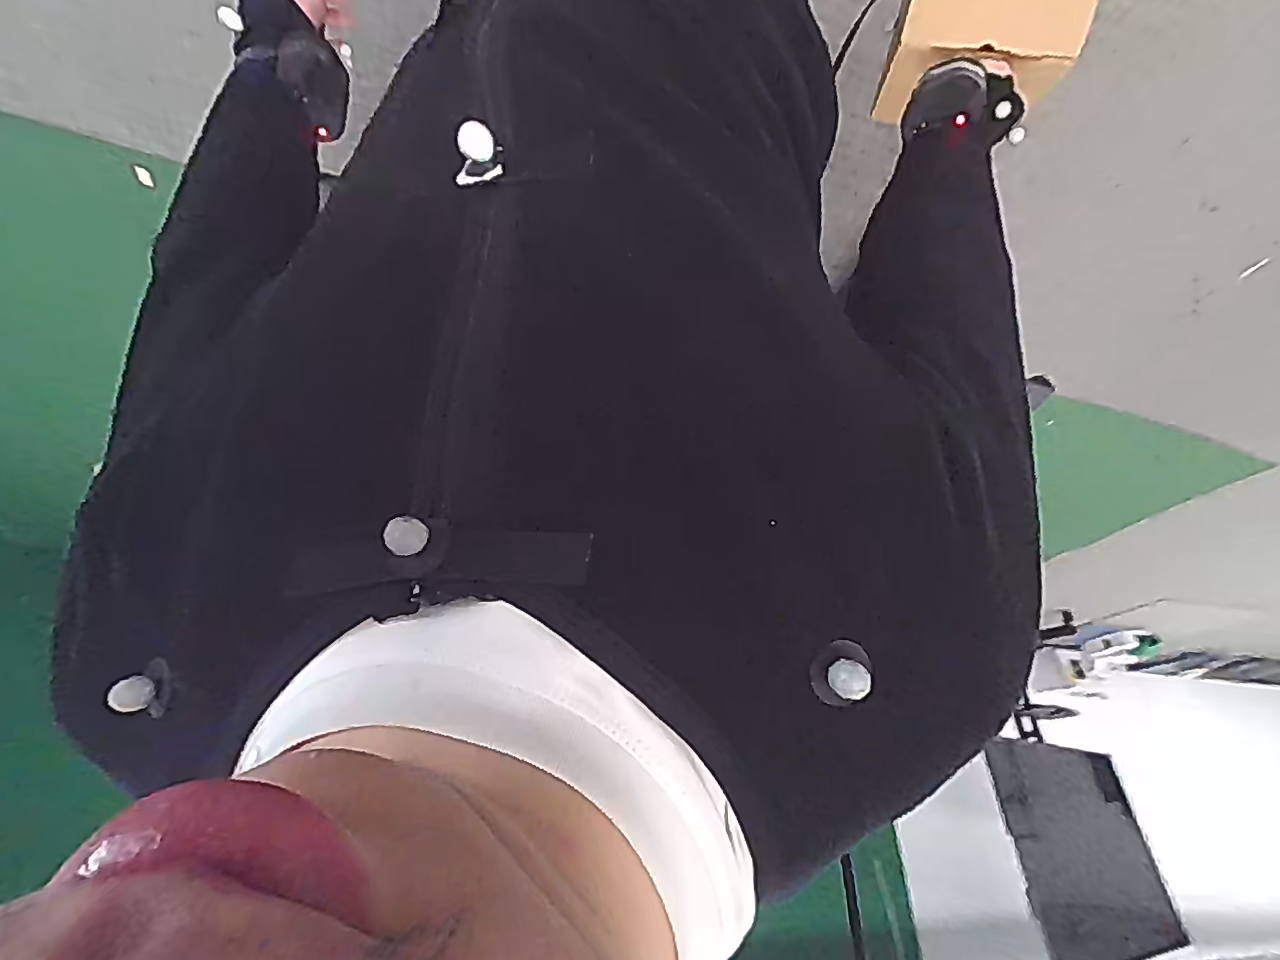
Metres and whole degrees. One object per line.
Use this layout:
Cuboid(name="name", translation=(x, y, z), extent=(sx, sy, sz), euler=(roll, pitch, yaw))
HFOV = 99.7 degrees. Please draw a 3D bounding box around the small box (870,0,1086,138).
Cuboid(name="small box", translation=(0.370, -0.513, 0.597), extent=(0.168, 0.179, 0.176), euler=(16, -168, 9))
